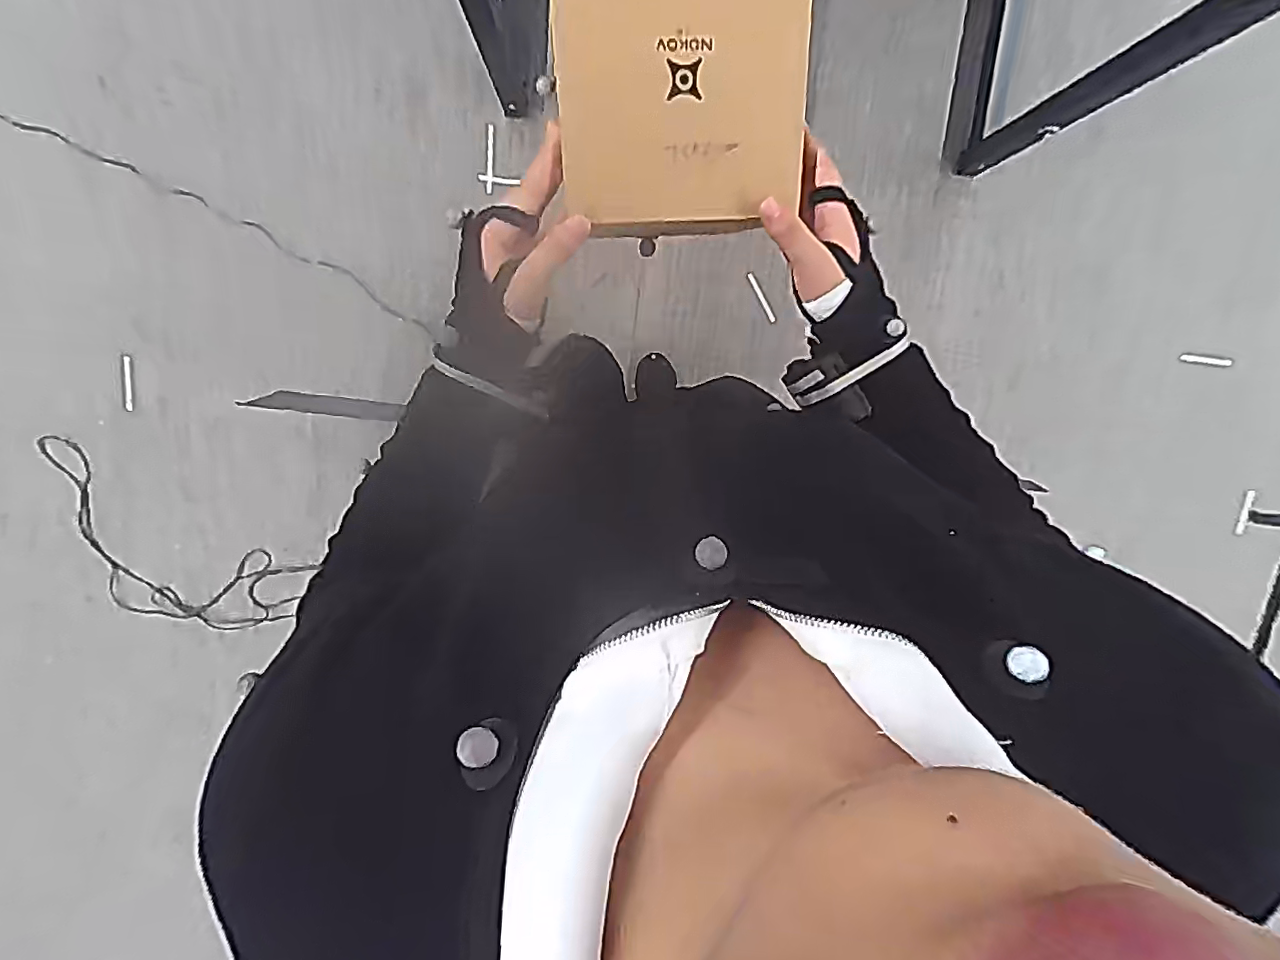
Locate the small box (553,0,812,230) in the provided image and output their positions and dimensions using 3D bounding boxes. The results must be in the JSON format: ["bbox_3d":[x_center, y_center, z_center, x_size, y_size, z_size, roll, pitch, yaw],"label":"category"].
[{"bbox_3d":[0.021,-0.300,0.420,0.168,0.176,0.179,-4,111,-4],"label":"small box"}]
